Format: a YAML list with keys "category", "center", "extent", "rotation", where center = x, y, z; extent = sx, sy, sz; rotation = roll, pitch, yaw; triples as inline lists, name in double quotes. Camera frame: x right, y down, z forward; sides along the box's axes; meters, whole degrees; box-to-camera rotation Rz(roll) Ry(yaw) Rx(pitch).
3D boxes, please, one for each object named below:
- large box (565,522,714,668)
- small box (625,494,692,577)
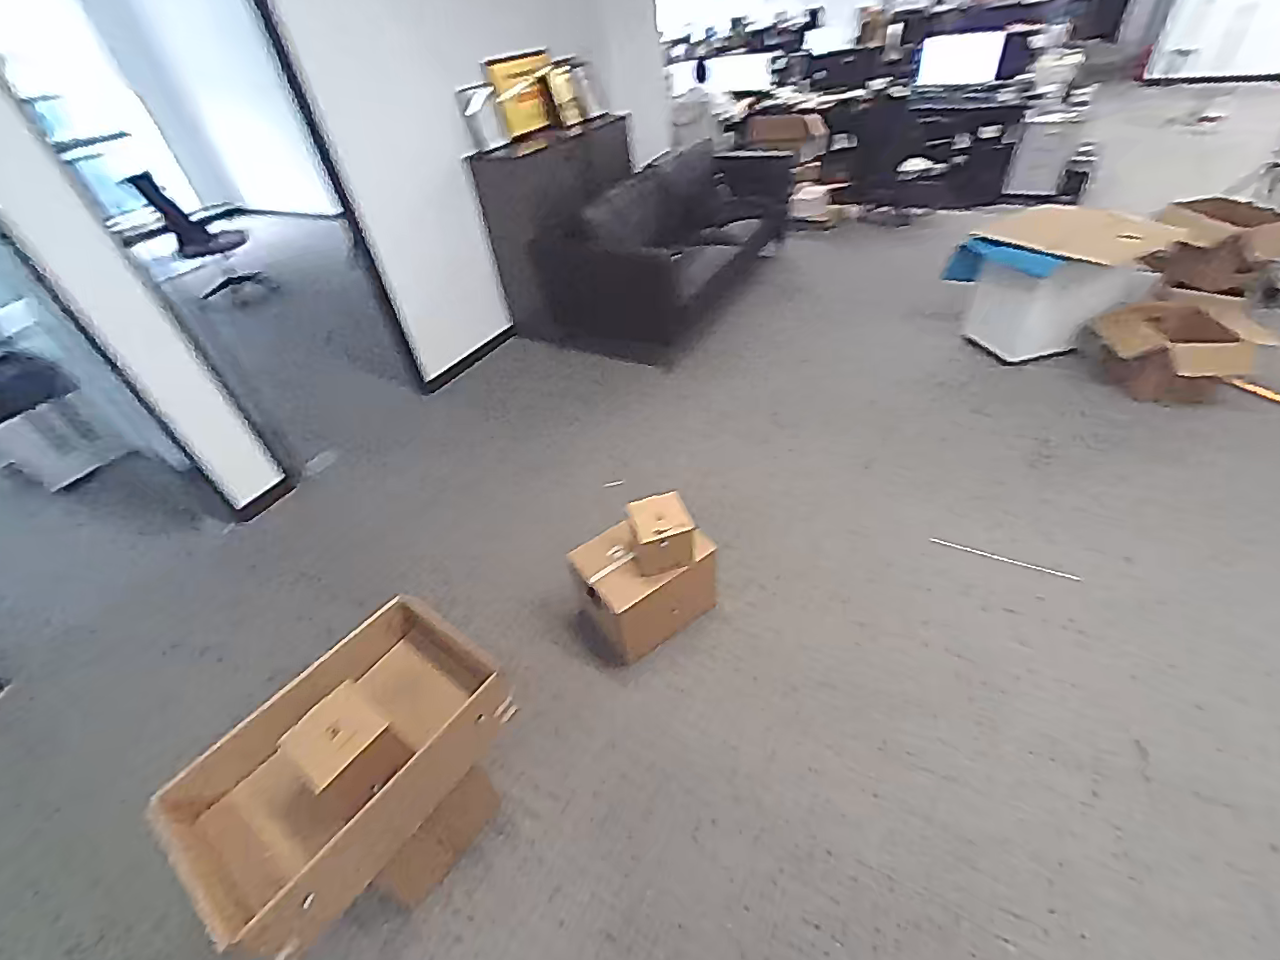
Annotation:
- category: "large box"
  center: [0.010, 0.361, 1.877]
  extent: [0.408, 0.320, 0.320]
  rotation: [-30, 45, -23]
- category: "small box"
  center: [0.058, 0.175, 1.706]
  extent: [0.168, 0.176, 0.179]
  rotation: [-15, 42, -9]
